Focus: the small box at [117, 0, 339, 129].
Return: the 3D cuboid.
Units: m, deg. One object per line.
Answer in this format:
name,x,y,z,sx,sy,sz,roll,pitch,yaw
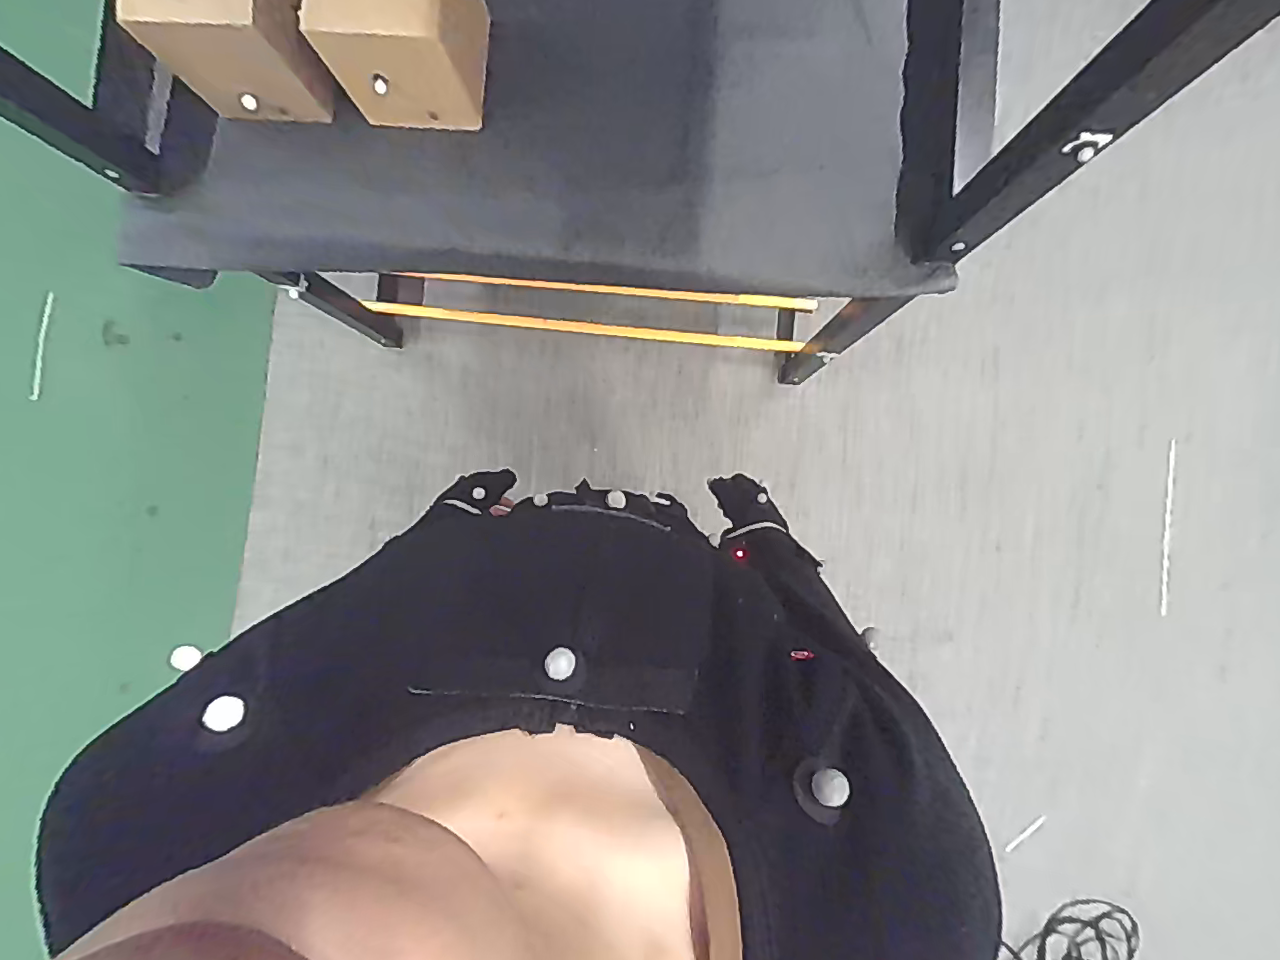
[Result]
small box,-0.528,-0.611,0.719,0.168,0.176,0.179,3,88,1
